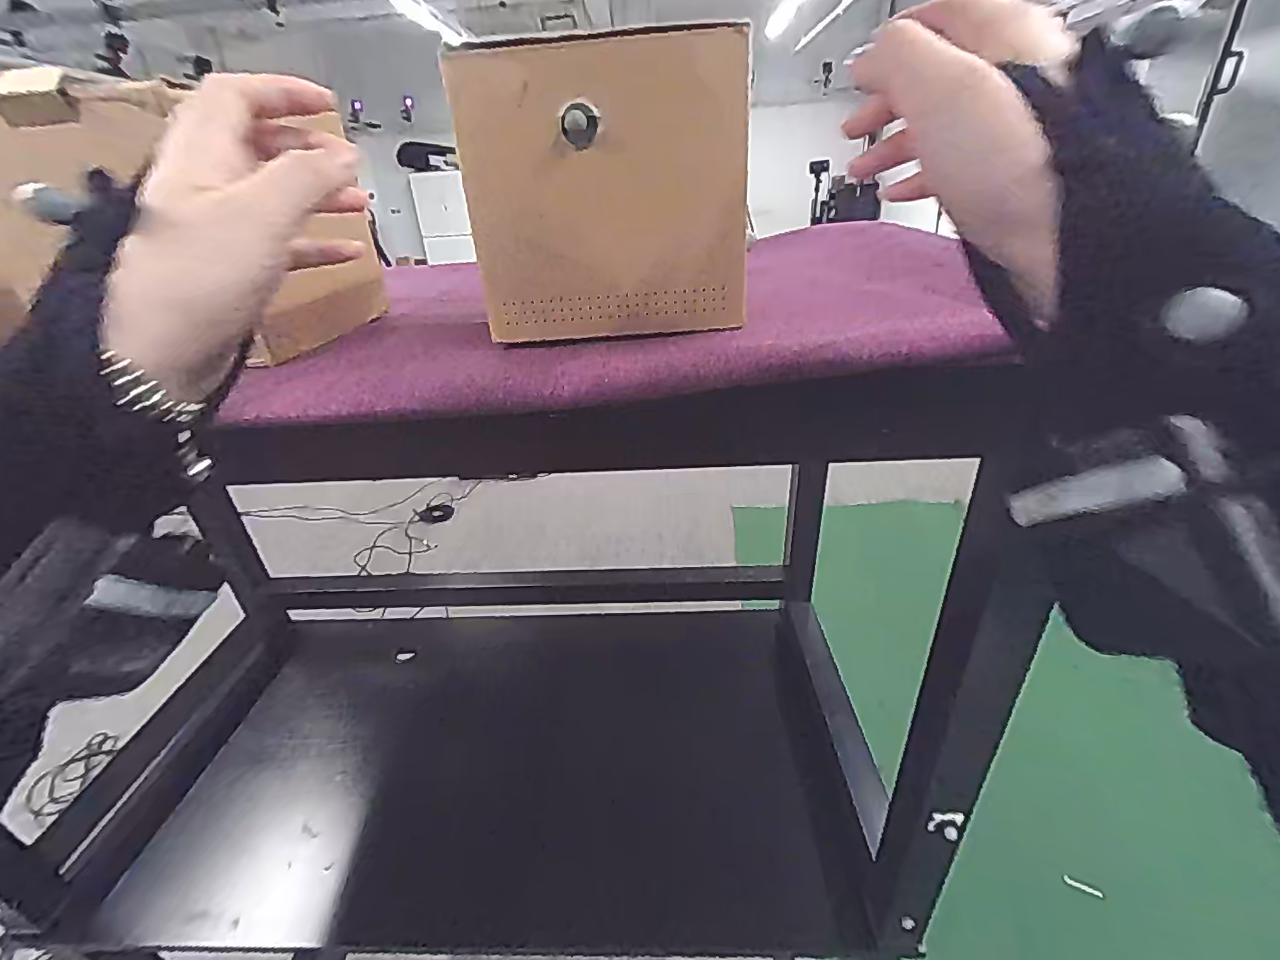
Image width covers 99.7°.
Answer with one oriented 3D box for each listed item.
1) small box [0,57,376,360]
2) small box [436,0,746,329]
[{"bbox_3d":[-0.331,-0.192,0.409,0.168,0.176,0.179,0,28,4],"label":"small box"},{"bbox_3d":[-0.019,-0.212,0.399,0.179,0.176,0.168,-3,27,3],"label":"small box"}]
